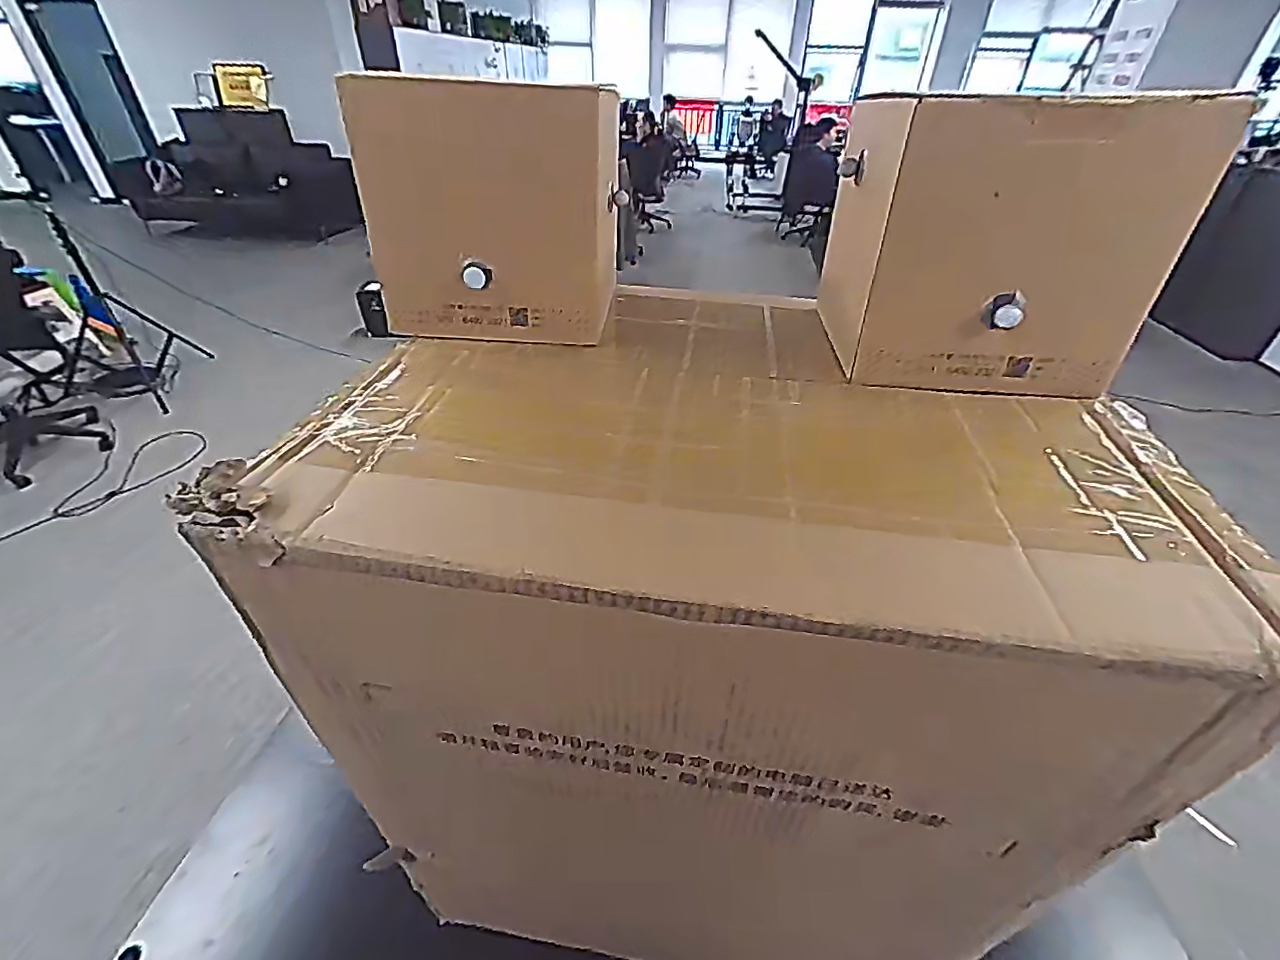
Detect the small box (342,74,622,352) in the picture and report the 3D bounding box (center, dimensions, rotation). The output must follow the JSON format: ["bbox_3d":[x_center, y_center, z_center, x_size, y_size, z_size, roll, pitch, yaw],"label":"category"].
[{"bbox_3d":[-0.105,-0.220,0.446,0.168,0.176,0.179,3,36,0],"label":"small box"}]

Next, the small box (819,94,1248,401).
[{"bbox_3d":[0.237,-0.174,0.394,0.168,0.176,0.179,4,35,6],"label":"small box"}]
